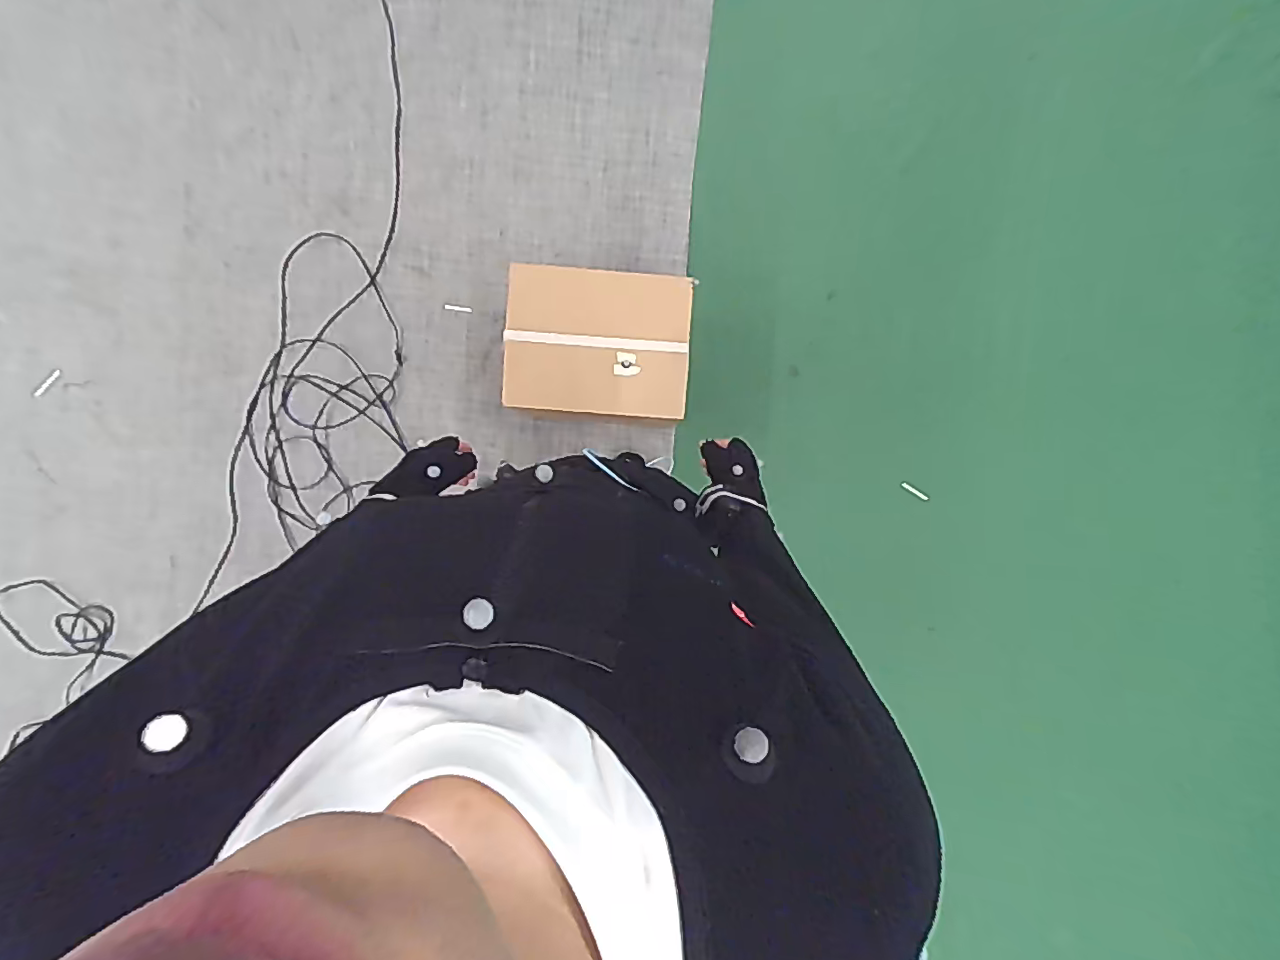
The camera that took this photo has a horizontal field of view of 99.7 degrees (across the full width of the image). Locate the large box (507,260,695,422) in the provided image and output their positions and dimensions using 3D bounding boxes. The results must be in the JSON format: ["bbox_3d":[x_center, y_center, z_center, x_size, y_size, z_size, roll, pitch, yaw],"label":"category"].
[{"bbox_3d":[-0.094,-0.316,1.329,0.408,0.320,0.320,4,93,-3],"label":"large box"}]
